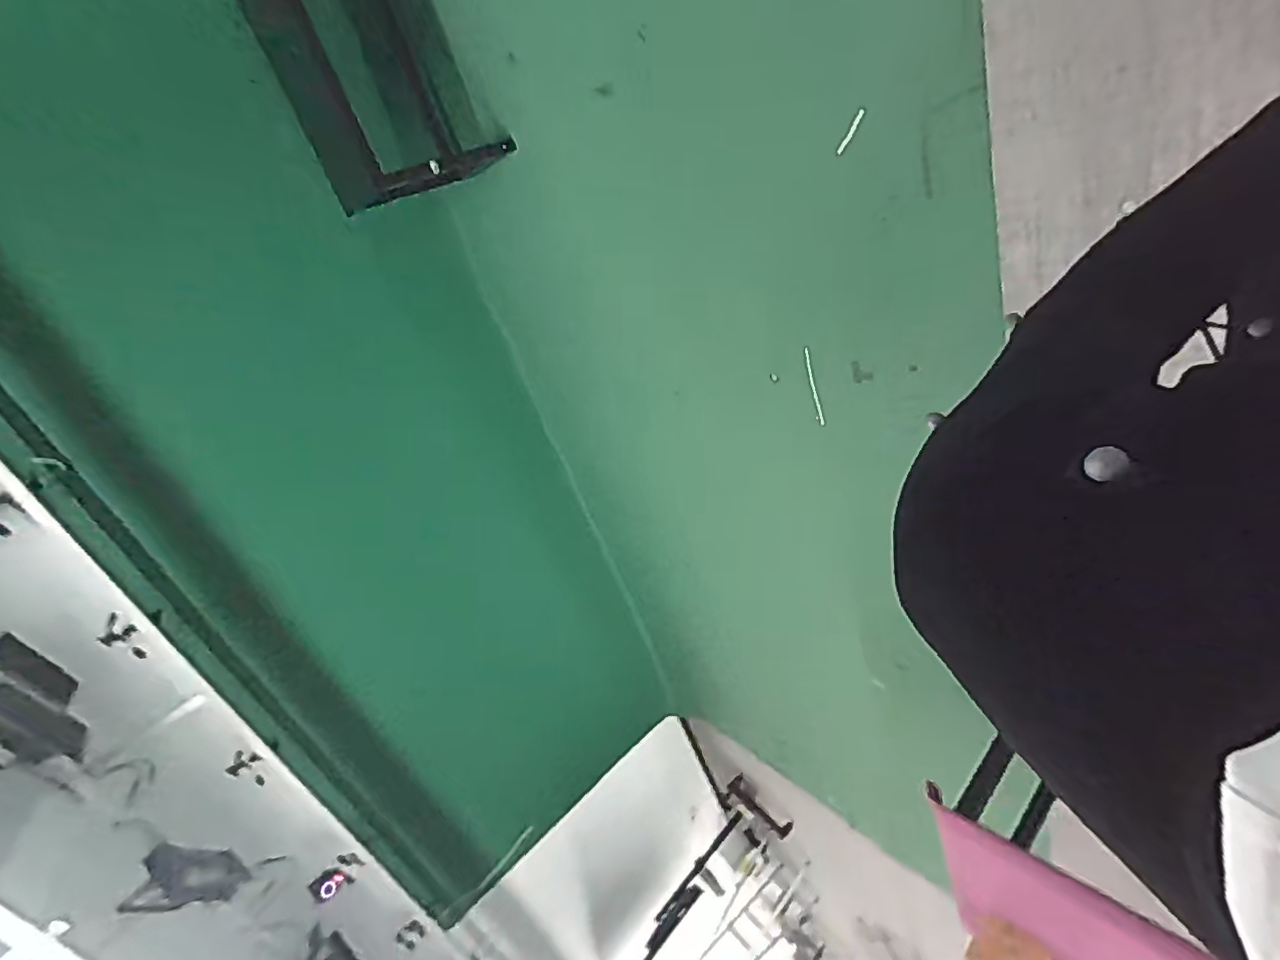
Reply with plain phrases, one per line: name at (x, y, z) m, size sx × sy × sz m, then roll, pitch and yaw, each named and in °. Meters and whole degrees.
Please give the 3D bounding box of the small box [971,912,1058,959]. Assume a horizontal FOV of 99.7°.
small box at (1.094, 1.423, 1.573) m, size 0.168 × 0.176 × 0.179 m, roll 11°, pitch 129°, yaw 54°
